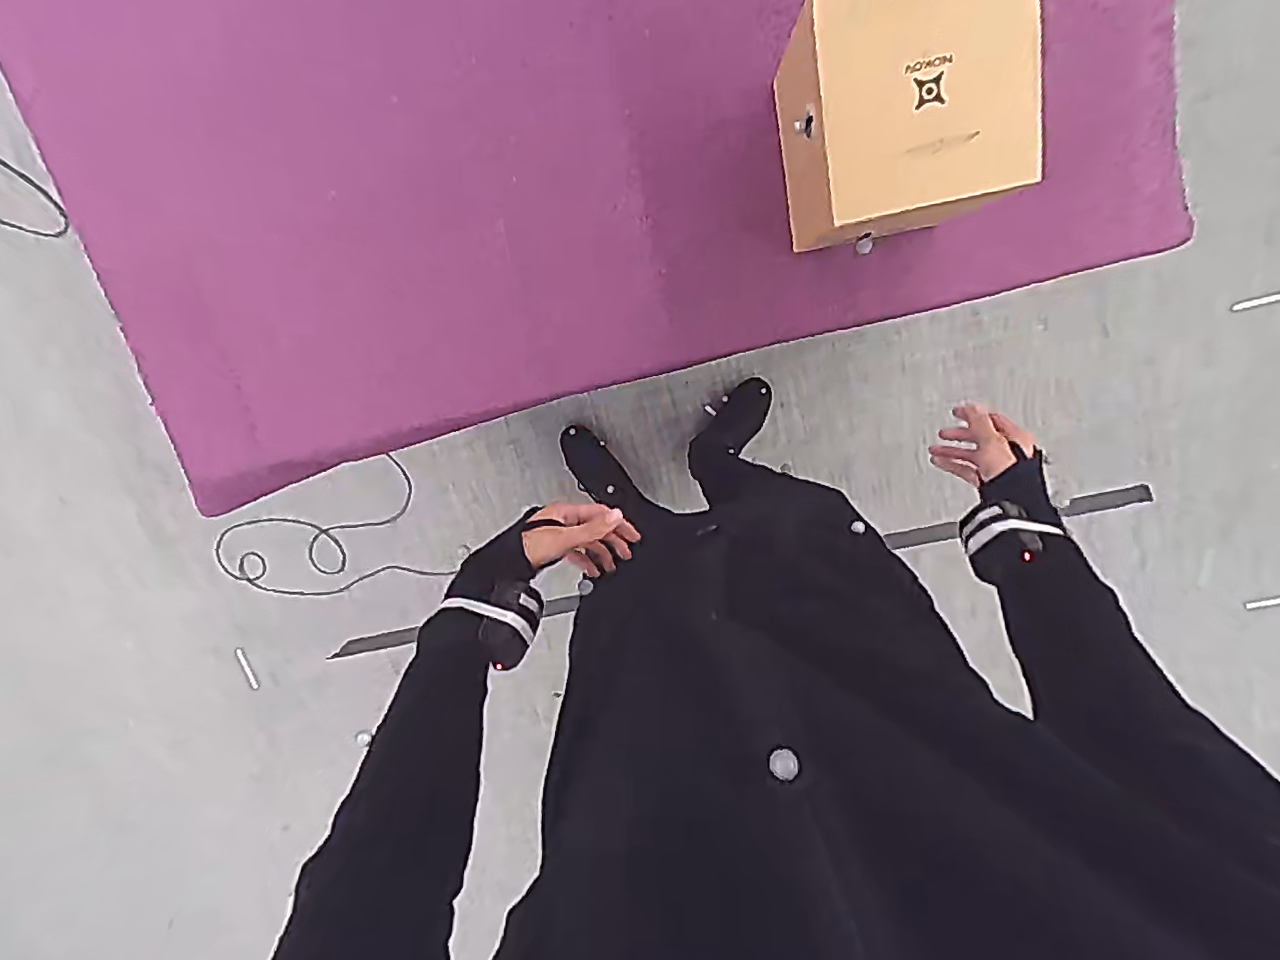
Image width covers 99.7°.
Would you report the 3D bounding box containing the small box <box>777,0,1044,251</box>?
[{"bbox_3d":[0.227,-0.326,0.492,0.168,0.176,0.179,-9,104,7],"label":"small box"}]
